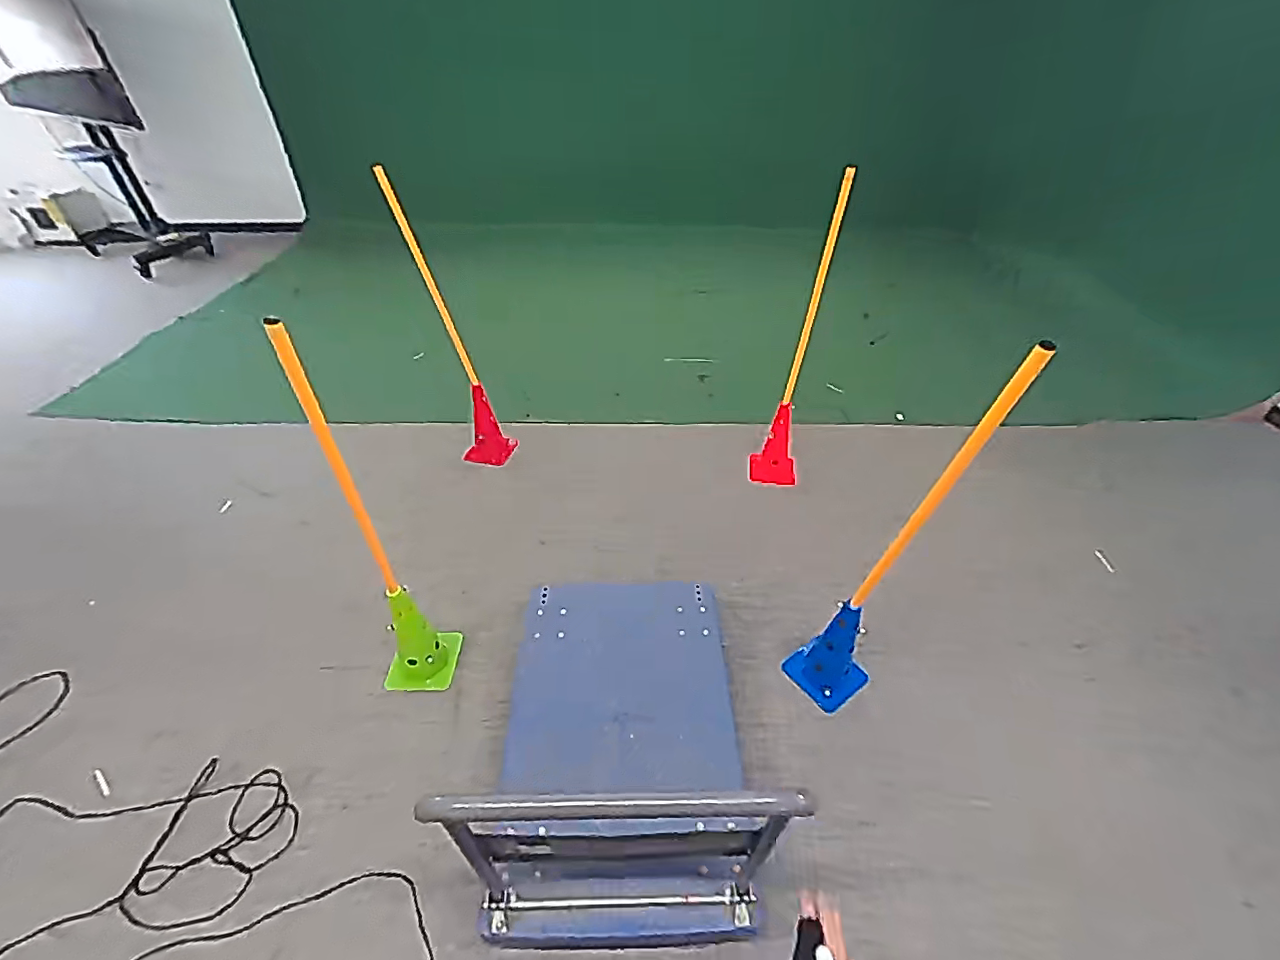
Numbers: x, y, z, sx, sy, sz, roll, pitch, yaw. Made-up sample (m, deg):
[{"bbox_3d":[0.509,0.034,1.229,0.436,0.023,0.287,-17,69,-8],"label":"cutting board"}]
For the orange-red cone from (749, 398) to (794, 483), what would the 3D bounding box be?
[{"bbox_3d":[0.585,-0.188,2.296,0.198,0.360,0.199,7,42,9],"label":"orange-red cone"}]
